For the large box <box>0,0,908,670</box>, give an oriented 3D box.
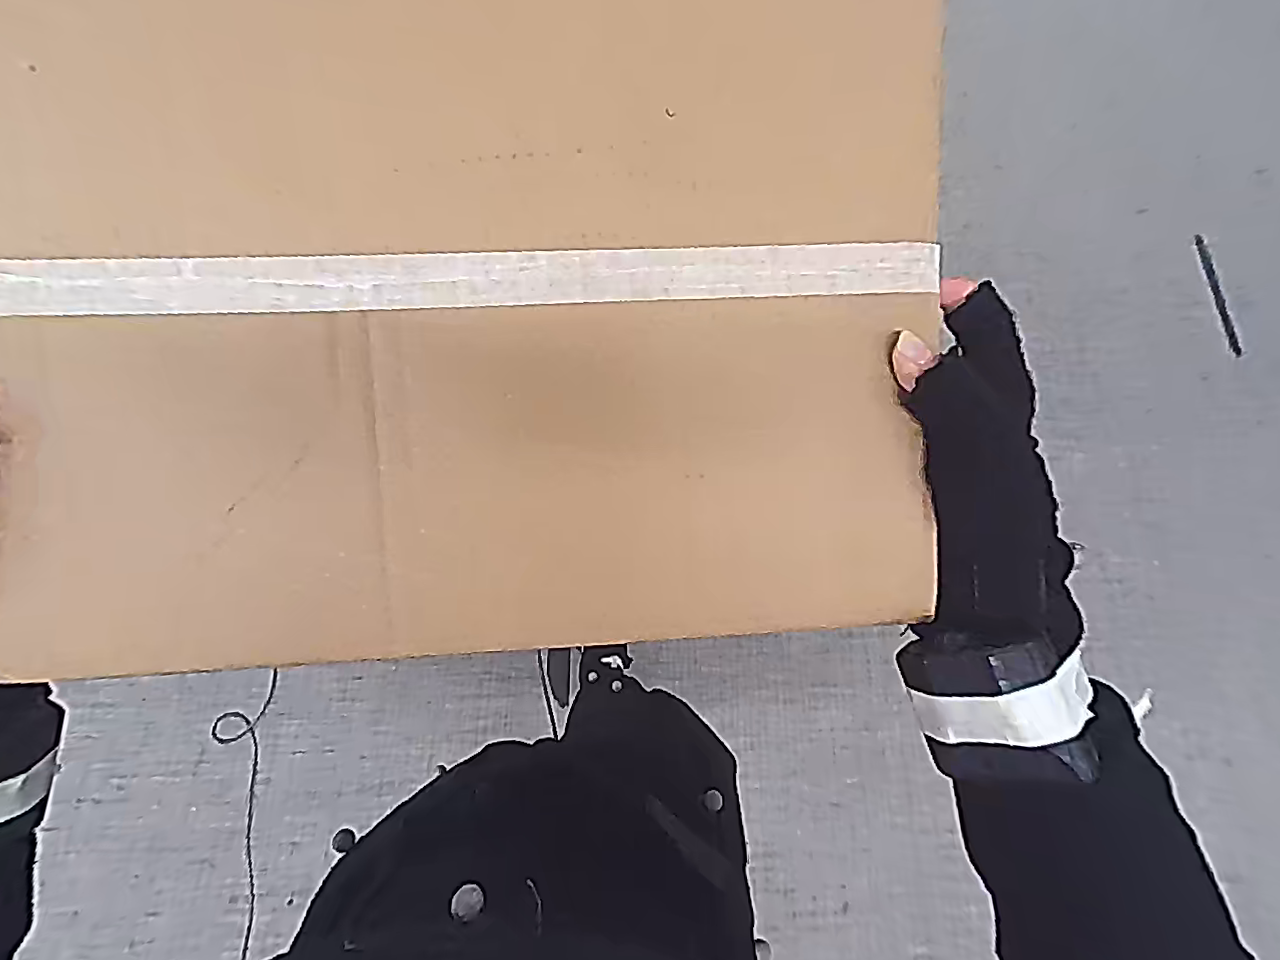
[{"bbox_3d":[-0.087,-0.094,0.380,0.408,0.320,0.320,-2,95,-5],"label":"large box"}]
